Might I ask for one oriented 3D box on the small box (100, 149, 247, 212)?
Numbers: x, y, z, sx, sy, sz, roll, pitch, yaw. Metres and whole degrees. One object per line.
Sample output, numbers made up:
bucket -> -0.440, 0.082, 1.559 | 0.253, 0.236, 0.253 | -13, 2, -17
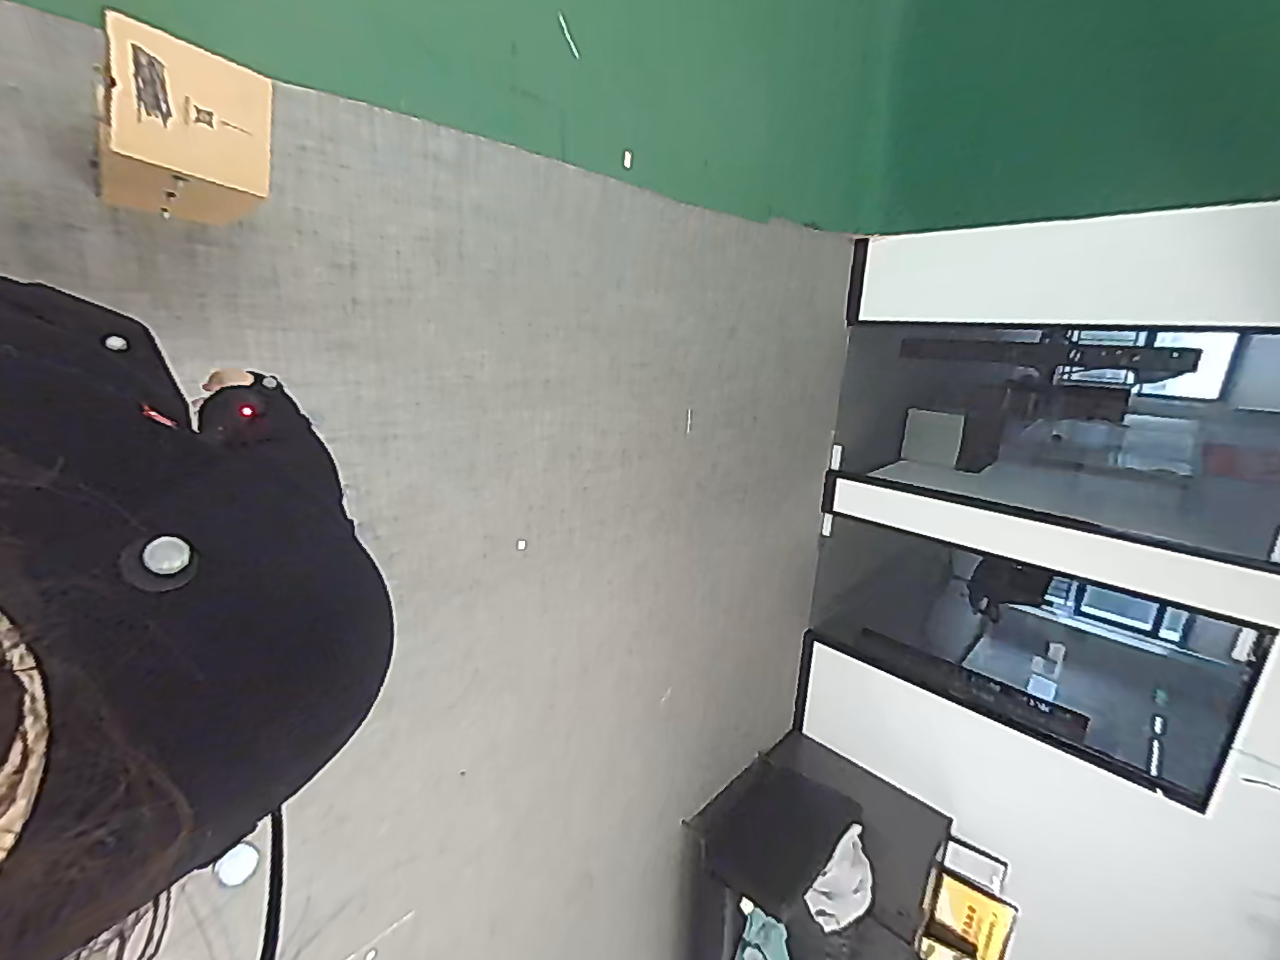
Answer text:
small box -> -0.768, -0.560, 0.895 | 0.179, 0.176, 0.168 | 2, 103, -47

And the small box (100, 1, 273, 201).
small box -> -0.657, -0.521, 0.781 | 0.179, 0.176, 0.168 | -1, 105, -47
